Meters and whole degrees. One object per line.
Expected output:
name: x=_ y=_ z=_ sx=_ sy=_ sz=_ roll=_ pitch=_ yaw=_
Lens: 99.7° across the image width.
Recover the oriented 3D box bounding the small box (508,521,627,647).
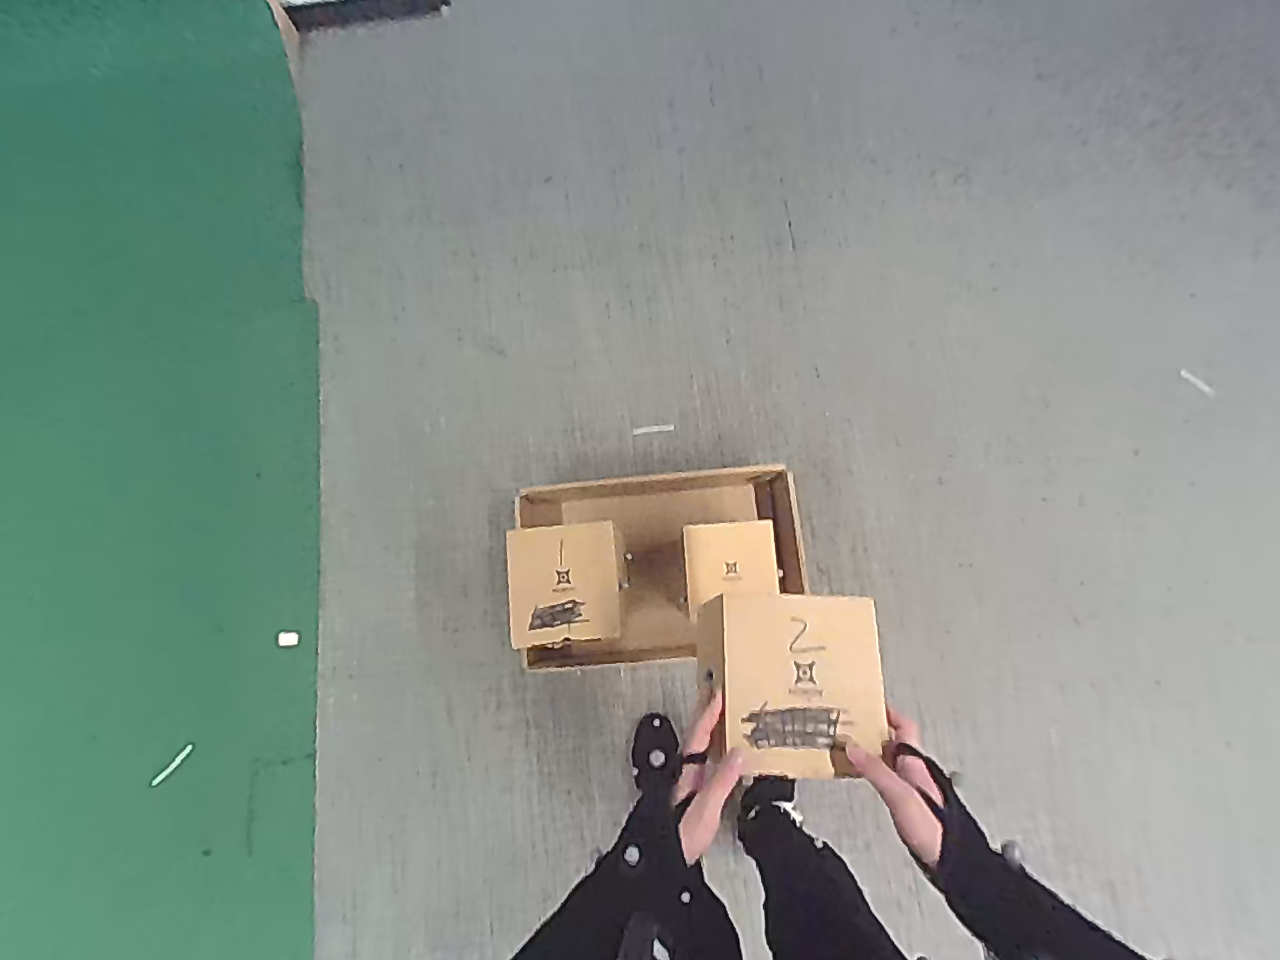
small box: x=-0.111 y=0.168 z=0.882 sx=0.168 sy=0.176 sz=0.179 roll=-5 pitch=78 yaw=0

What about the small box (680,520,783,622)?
small box: x=0.167 y=0.177 z=1.044 sx=0.168 sy=0.176 sz=0.179 roll=-3 pitch=80 yaw=1
